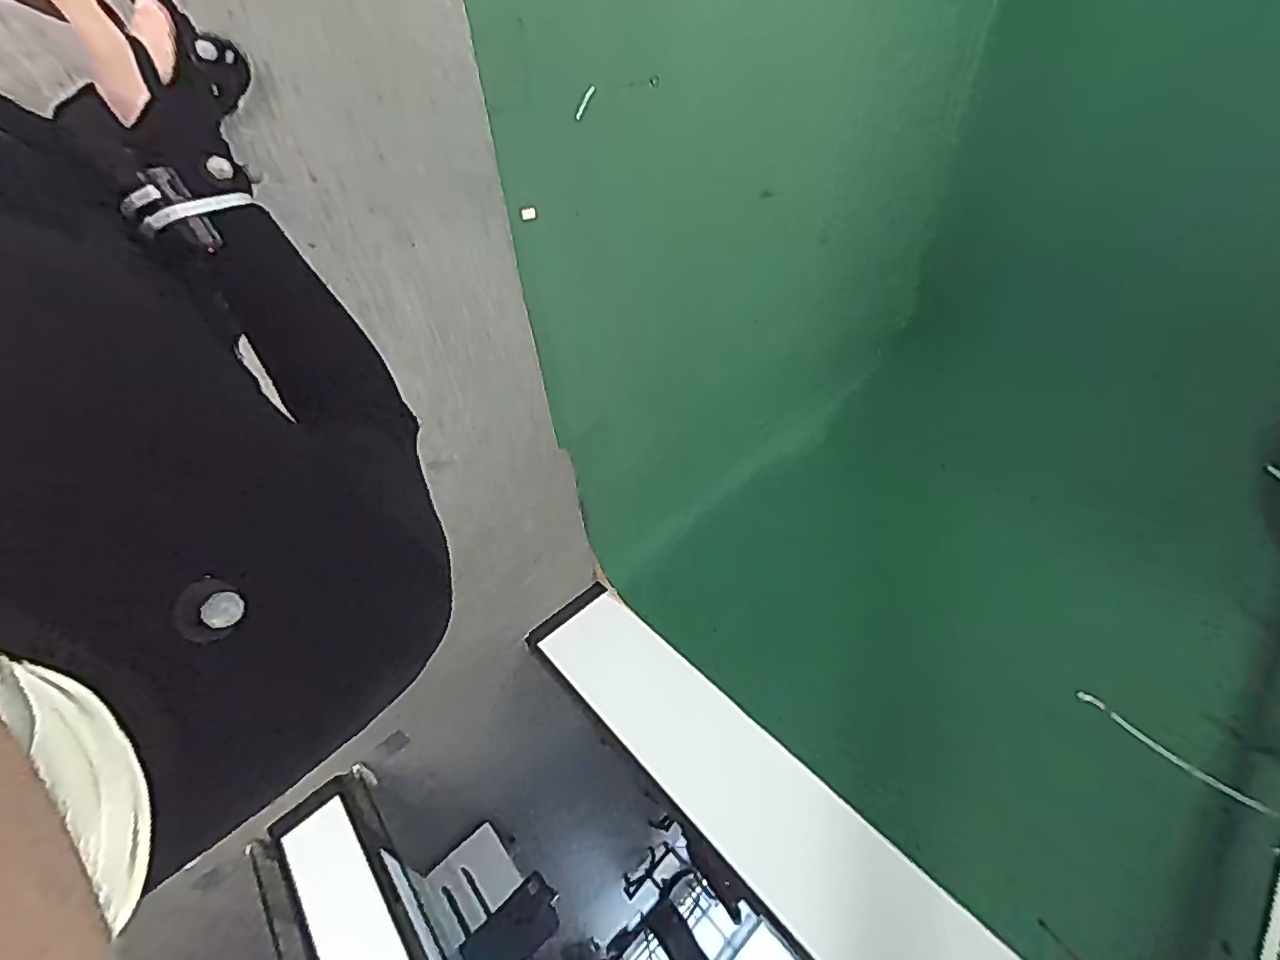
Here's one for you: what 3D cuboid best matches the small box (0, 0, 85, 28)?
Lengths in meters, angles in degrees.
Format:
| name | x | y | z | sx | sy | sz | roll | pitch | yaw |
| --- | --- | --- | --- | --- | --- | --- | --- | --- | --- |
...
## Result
| name | x | y | z | sx | sy | sz | roll | pitch | yaw |
| --- | --- | --- | --- | --- | --- | --- | --- | --- | --- |
| small box | -0.446 | -0.436 | 0.331 | 0.168 | 0.176 | 0.179 | 11 | 103 | -47 |
